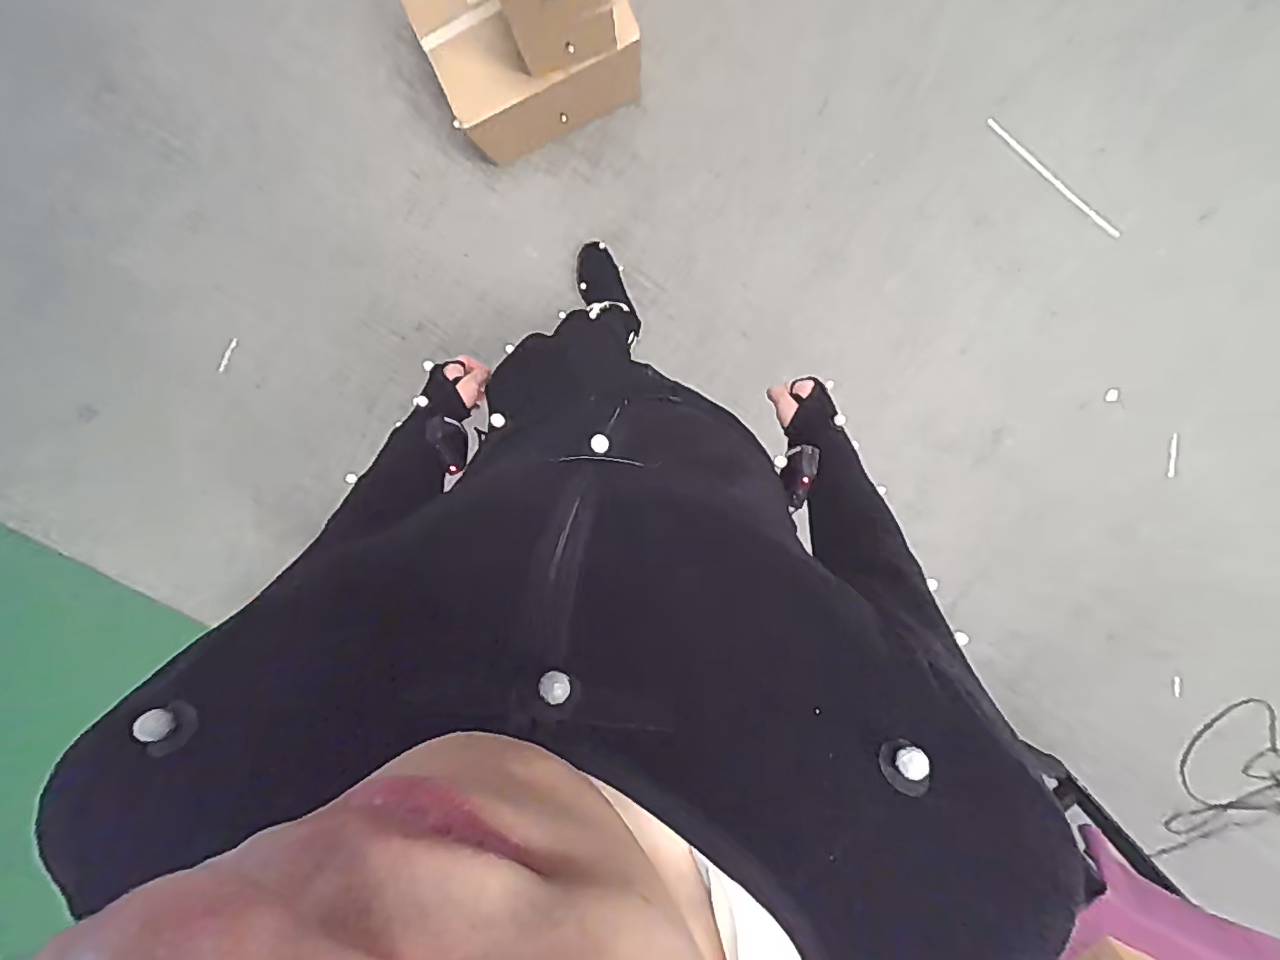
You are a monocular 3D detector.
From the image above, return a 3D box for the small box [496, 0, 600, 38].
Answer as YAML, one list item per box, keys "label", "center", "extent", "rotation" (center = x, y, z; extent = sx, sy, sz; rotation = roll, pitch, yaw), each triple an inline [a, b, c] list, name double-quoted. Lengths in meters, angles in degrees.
- label: "small box"
  center: [-0.152, -0.803, 0.792]
  extent: [0.179, 0.176, 0.168]
  rotation: [-19, 108, 7]

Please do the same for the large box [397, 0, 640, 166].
- label: "large box"
  center: [-0.242, -0.957, 1.170]
  extent: [0.408, 0.320, 0.320]
  rotation: [-23, 106, 8]

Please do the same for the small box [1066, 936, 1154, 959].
- label: "small box"
  center: [1.074, 1.147, 1.177]
  extent: [0.179, 0.176, 0.168]
  rotation: [30, 105, -12]
